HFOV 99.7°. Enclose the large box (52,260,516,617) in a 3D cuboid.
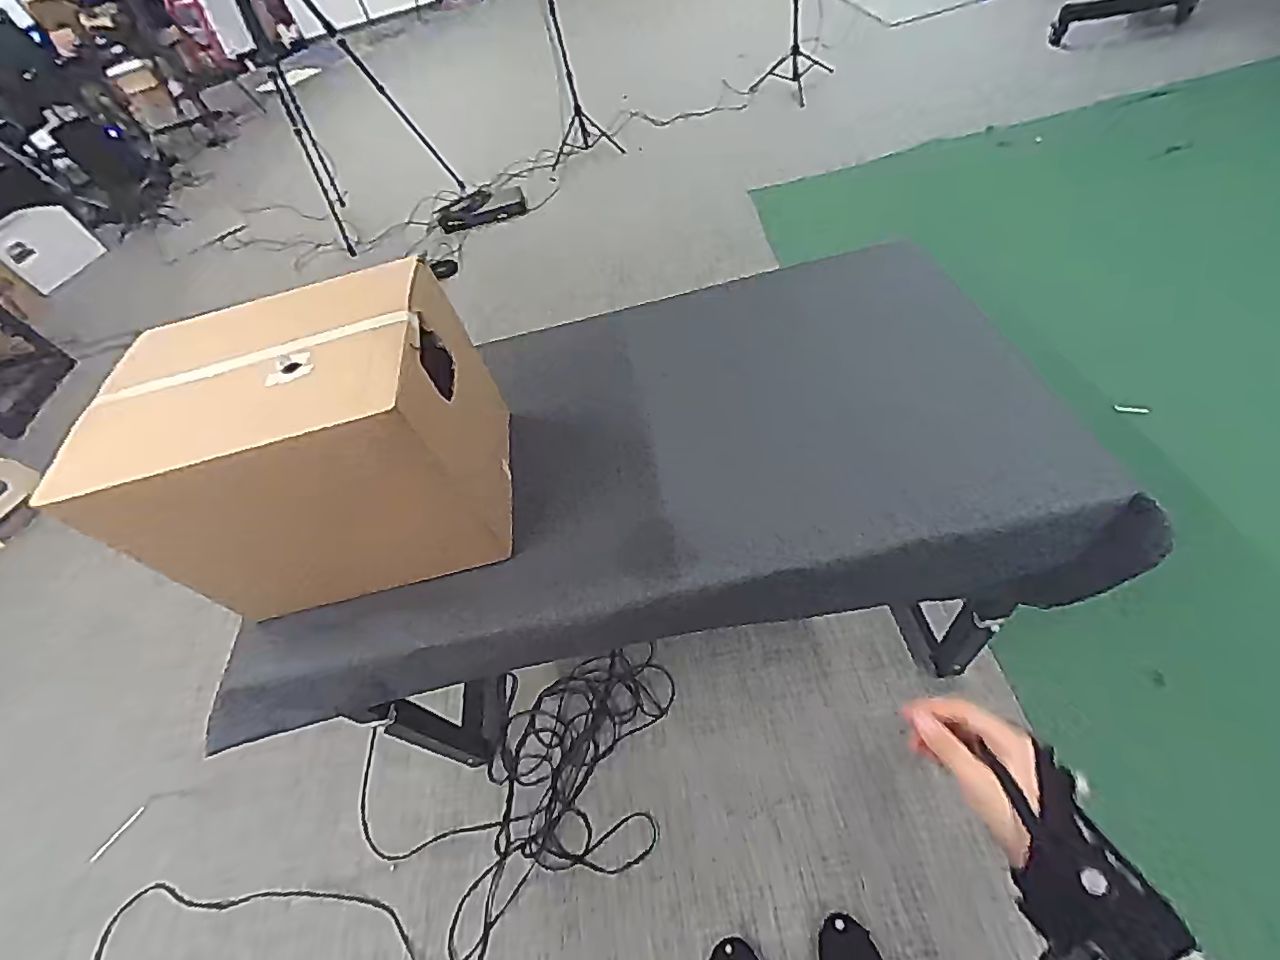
[{"bbox_3d":[-0.420,-0.049,0.764,0.408,0.320,0.320,-14,51,1],"label":"large box"}]
